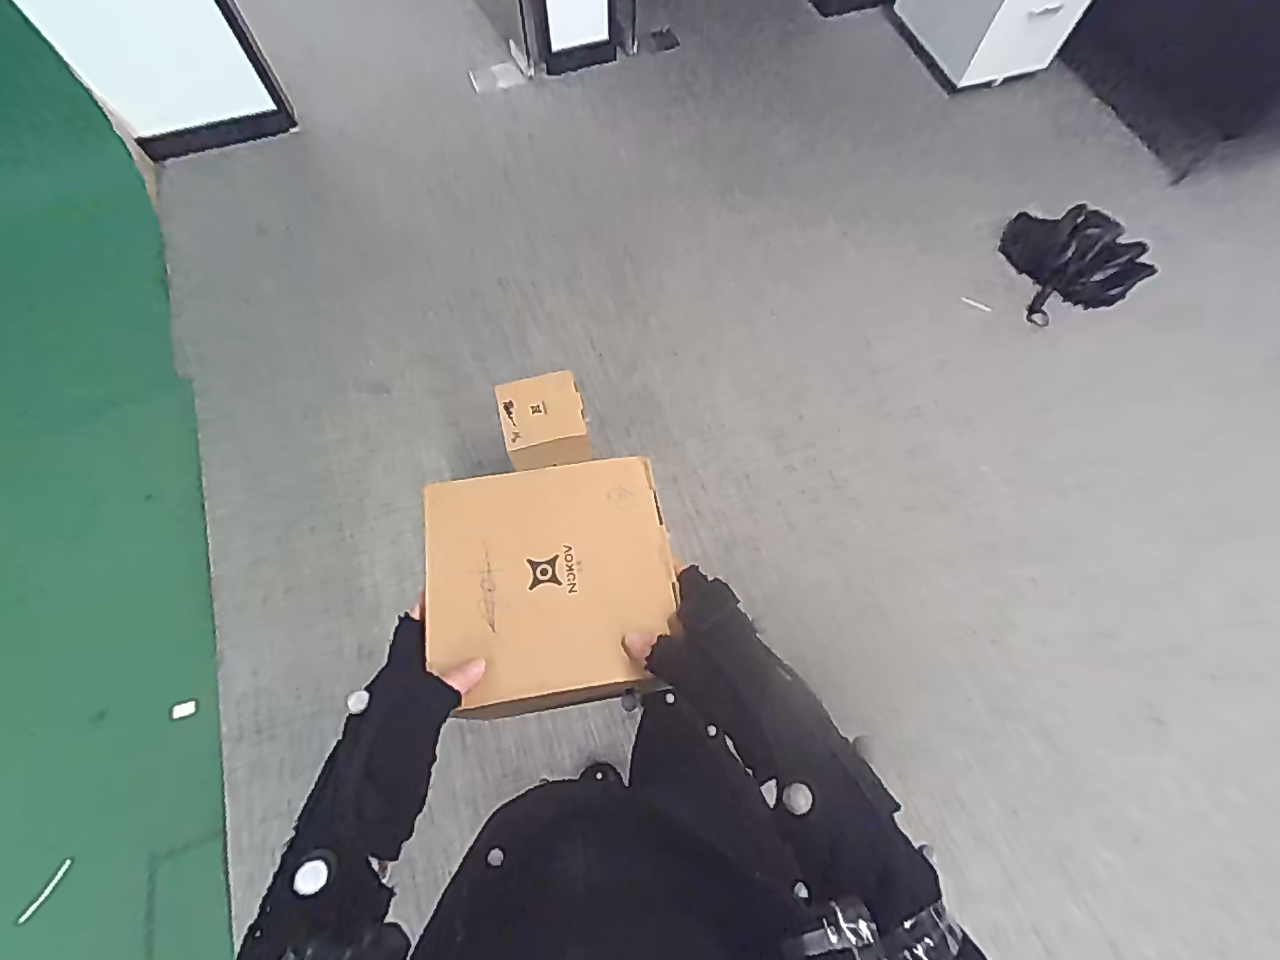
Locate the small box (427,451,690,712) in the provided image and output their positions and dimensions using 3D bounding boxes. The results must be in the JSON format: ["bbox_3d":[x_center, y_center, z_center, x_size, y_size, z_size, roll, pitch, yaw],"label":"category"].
[{"bbox_3d":[-0.066,0.096,0.465,0.179,0.176,0.168,-10,65,-4],"label":"small box"}]

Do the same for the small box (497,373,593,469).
[{"bbox_3d":[-0.211,-0.116,1.239,0.179,0.176,0.168,-16,71,-6],"label":"small box"}]
